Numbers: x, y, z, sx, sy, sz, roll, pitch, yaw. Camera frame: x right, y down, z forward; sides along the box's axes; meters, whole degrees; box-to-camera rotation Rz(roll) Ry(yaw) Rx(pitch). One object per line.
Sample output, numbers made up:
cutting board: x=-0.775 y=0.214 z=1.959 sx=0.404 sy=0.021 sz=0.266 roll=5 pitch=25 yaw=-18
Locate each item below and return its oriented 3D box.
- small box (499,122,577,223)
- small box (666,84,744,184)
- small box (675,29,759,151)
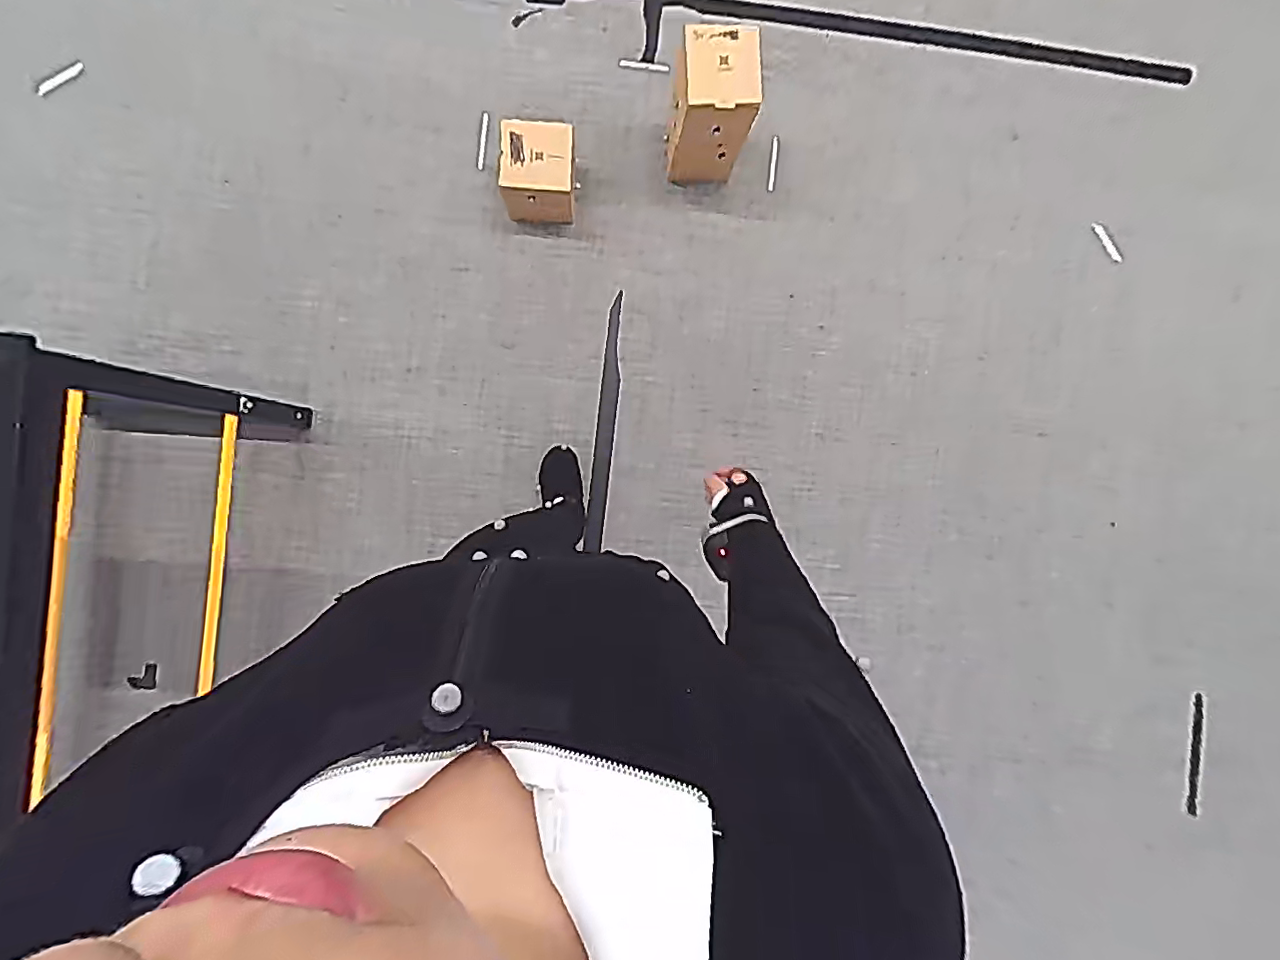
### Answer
small box: x=-0.257 y=-0.784 z=1.395 sx=0.179 sy=0.176 sz=0.168 roll=2 pitch=90 yaw=-4
small box: x=0.167 y=-0.907 z=1.425 sx=0.179 sy=0.176 sz=0.168 roll=-1 pitch=90 yaw=-4
small box: x=0.175 y=-0.898 z=1.261 sx=0.168 sy=0.176 sz=0.179 roll=-2 pitch=91 yaw=-4
